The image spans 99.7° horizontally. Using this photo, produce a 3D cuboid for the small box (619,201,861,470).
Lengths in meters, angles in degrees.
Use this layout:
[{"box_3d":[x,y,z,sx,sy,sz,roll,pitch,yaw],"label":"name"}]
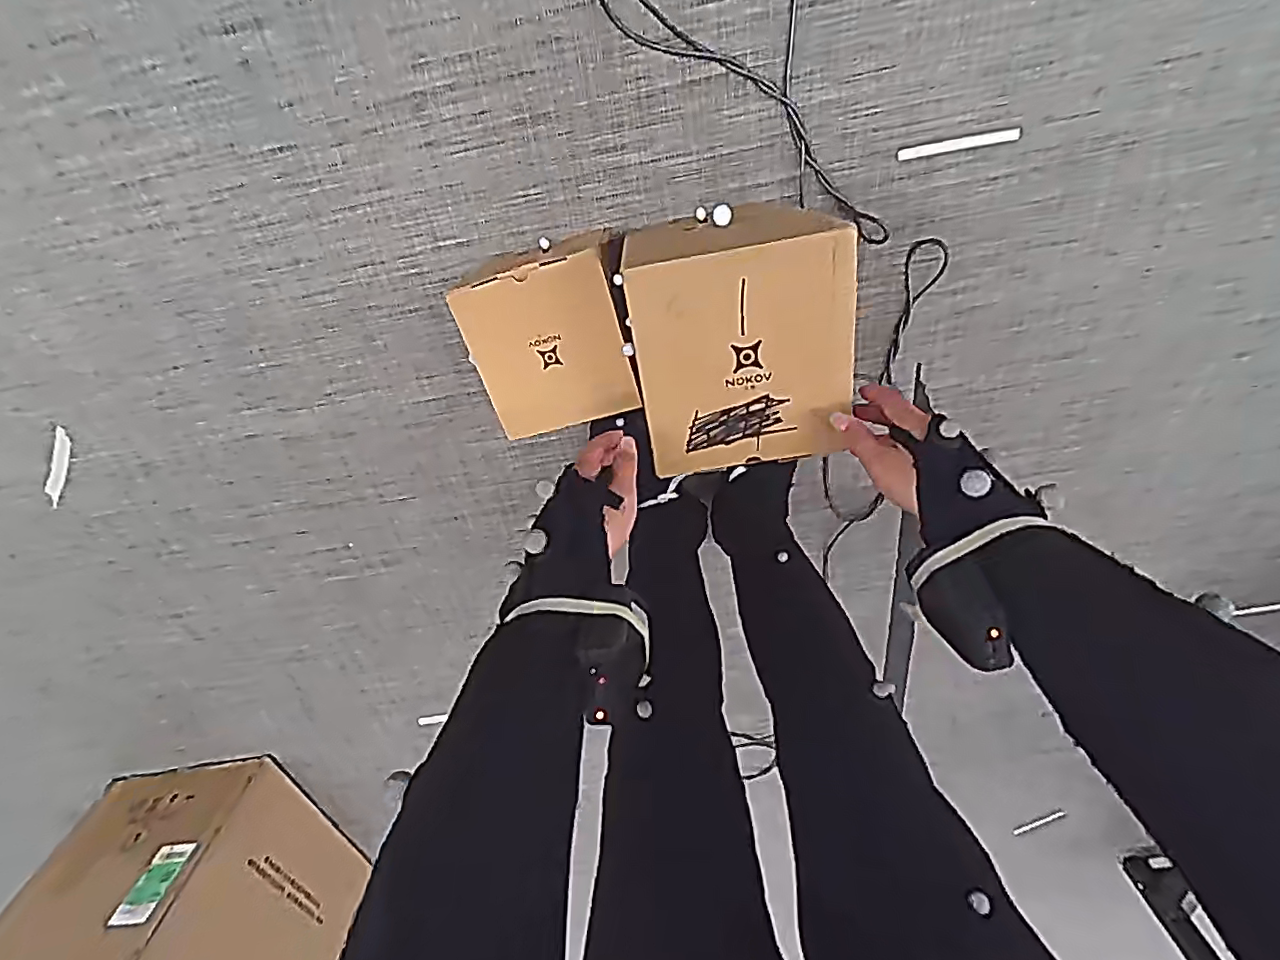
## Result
[{"box_3d":[0.079,-0.132,0.475,0.168,0.176,0.179,-9,120,4],"label":"small box"}]
